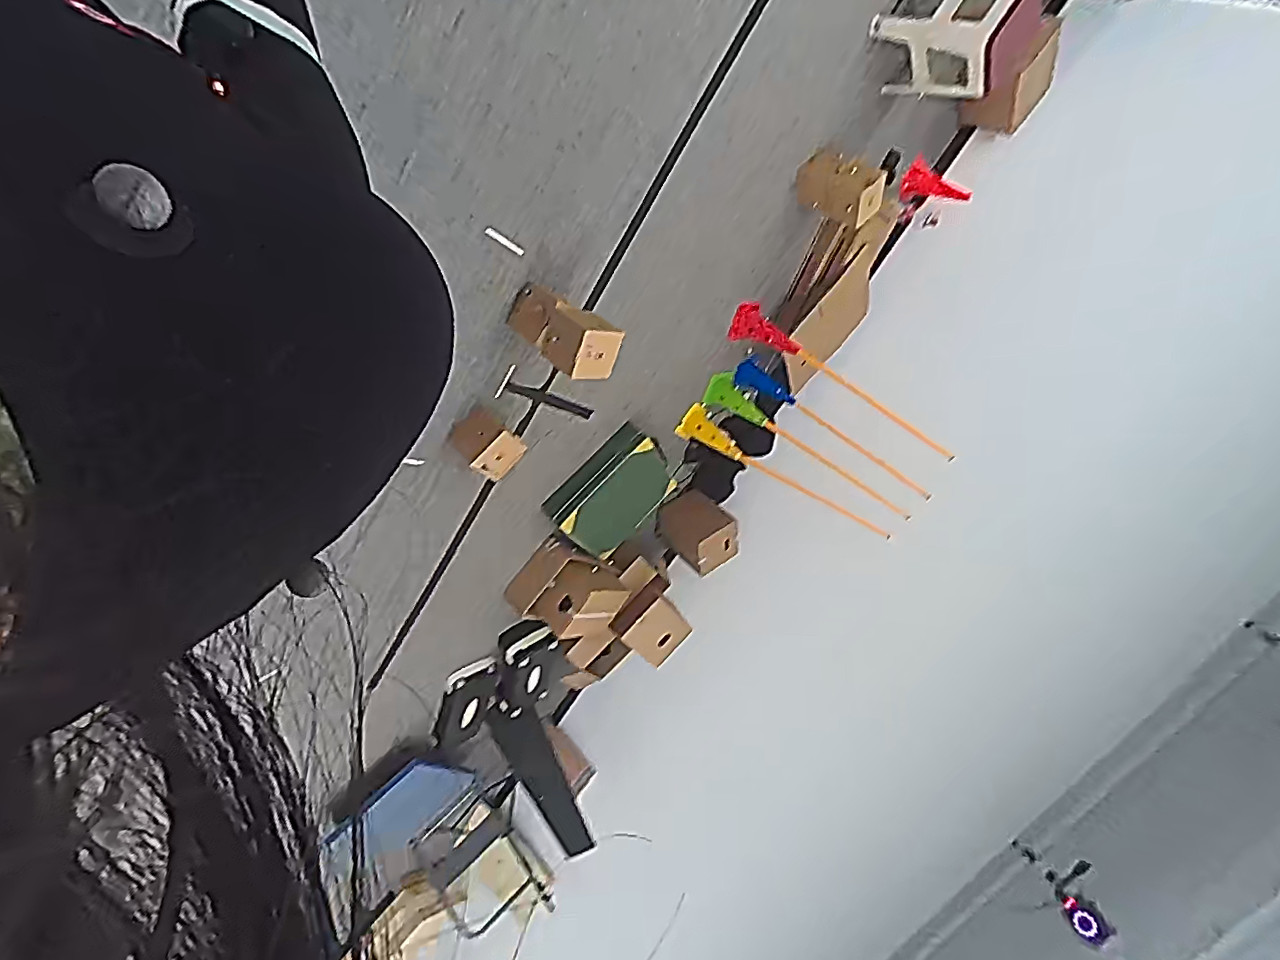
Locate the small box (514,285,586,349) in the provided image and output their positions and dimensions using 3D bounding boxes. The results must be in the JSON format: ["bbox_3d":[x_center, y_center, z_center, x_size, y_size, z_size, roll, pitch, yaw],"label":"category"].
[{"bbox_3d":[-0.292,-0.531,1.820,0.179,0.176,0.168,8,119,-57],"label":"small box"}]

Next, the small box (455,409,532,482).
[{"bbox_3d":[-0.537,-0.129,1.971,0.179,0.176,0.168,-47,152,0],"label":"small box"}]

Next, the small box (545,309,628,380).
[{"bbox_3d":[-0.175,-0.439,1.748,0.179,0.176,0.168,-7,129,-48],"label":"small box"}]
